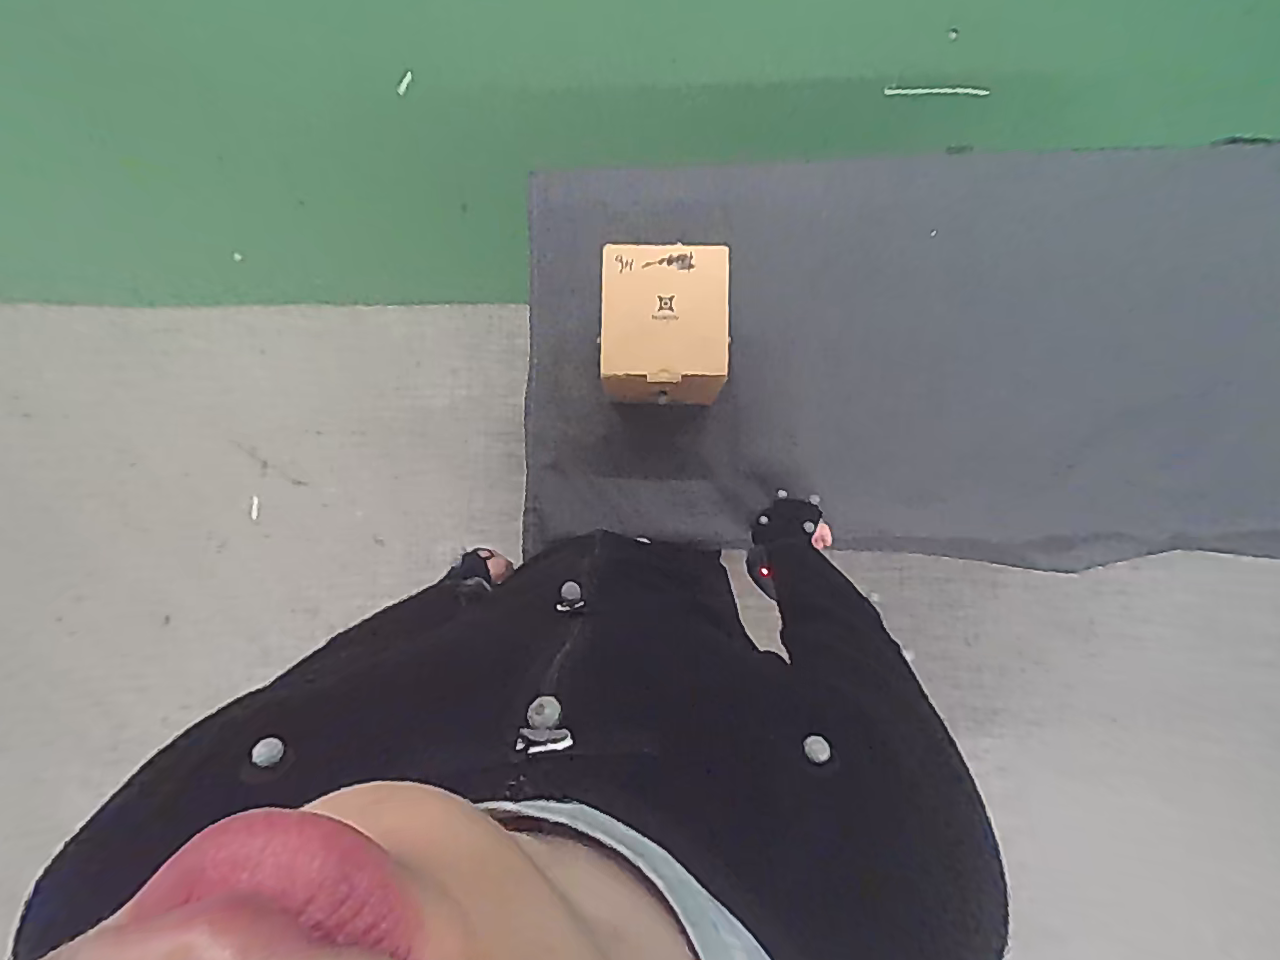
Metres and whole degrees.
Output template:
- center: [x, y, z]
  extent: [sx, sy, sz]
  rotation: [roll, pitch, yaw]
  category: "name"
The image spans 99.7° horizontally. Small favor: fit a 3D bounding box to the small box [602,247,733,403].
- center: [0.037, -0.211, 0.777]
  extent: [0.168, 0.176, 0.179]
  rotation: [2, 87, 0]
  category: "small box"
